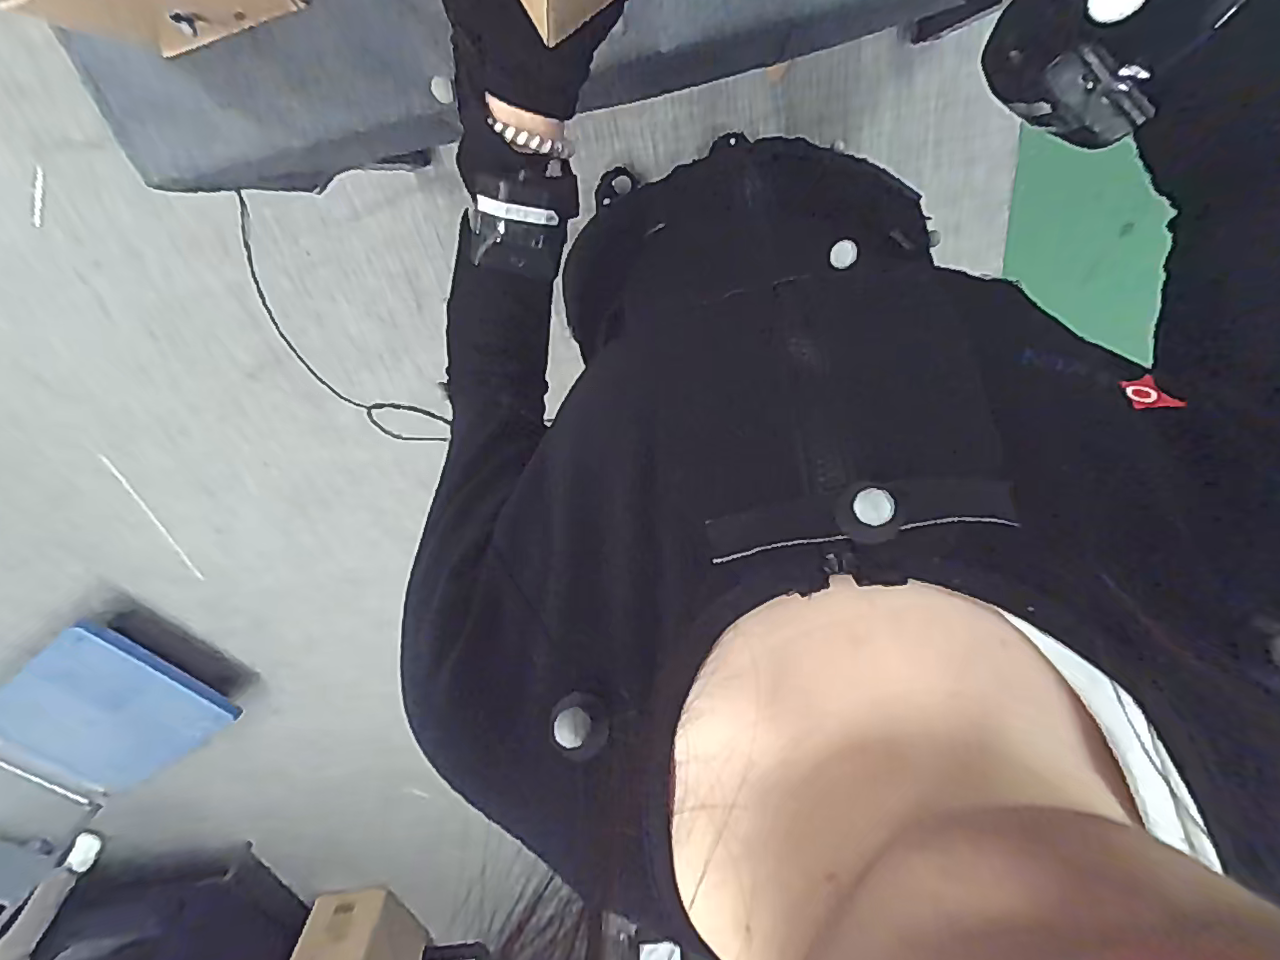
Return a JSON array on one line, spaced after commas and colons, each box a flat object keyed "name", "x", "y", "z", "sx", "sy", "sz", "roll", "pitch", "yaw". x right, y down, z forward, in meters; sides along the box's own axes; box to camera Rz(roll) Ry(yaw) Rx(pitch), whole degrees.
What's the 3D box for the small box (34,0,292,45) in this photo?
[{"name": "small box", "x": -0.419, "y": -0.480, "z": 0.417, "sx": 0.168, "sy": 0.176, "sz": 0.179, "roll": -13, "pitch": 119, "yaw": 7}]
